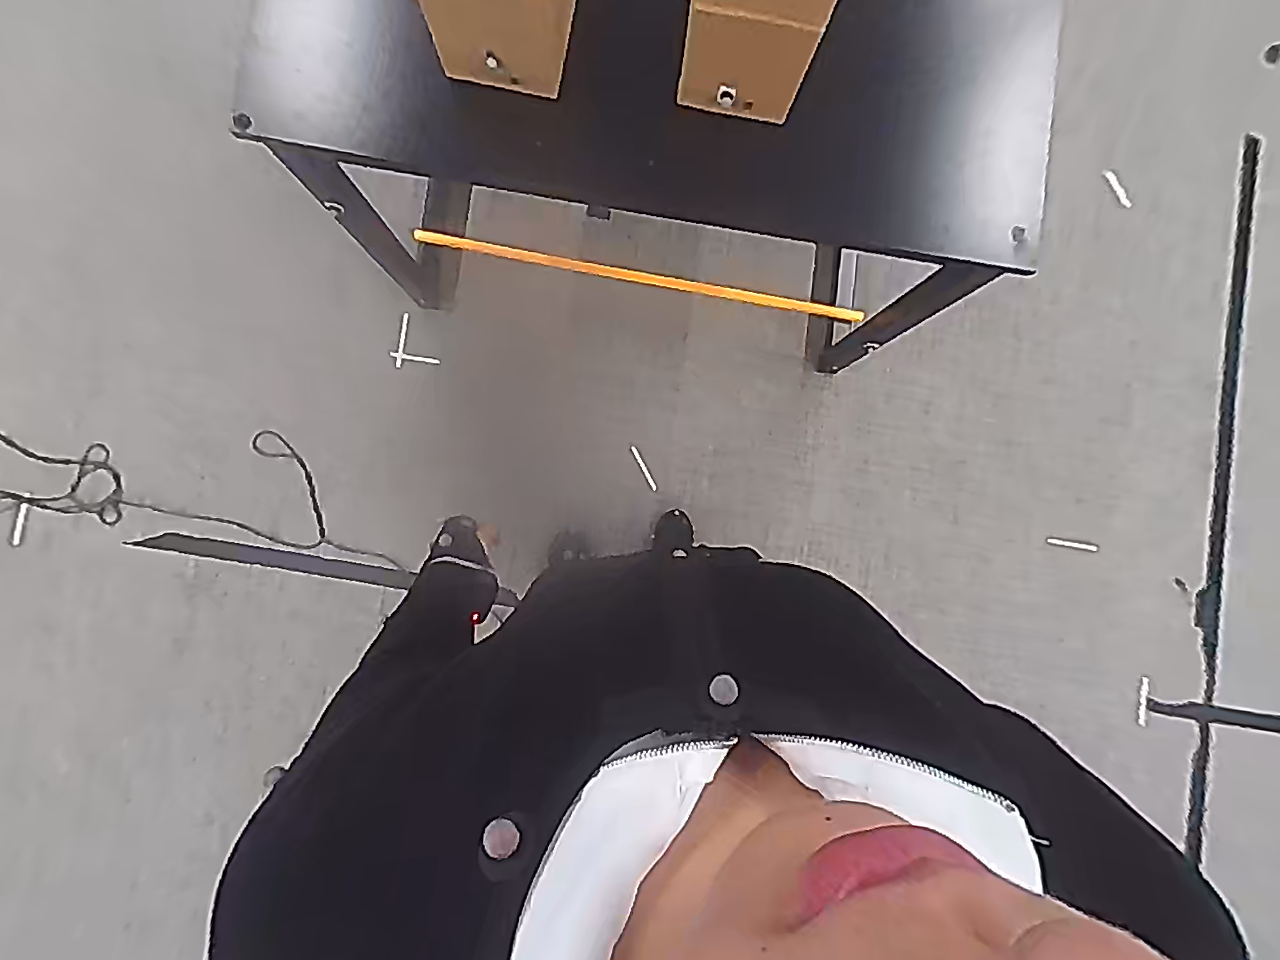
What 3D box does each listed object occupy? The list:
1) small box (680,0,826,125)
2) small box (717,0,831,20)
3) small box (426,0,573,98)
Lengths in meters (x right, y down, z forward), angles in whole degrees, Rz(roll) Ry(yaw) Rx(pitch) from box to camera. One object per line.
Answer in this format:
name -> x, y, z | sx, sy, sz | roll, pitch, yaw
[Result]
small box -> 0.151, -0.638, 0.742 | 0.168, 0.176, 0.179 | 7, 87, -2
small box -> 0.156, -0.648, 0.577 | 0.179, 0.176, 0.168 | 10, 87, -3
small box -> -0.184, -0.665, 0.719 | 0.168, 0.176, 0.179 | 10, 87, -3
